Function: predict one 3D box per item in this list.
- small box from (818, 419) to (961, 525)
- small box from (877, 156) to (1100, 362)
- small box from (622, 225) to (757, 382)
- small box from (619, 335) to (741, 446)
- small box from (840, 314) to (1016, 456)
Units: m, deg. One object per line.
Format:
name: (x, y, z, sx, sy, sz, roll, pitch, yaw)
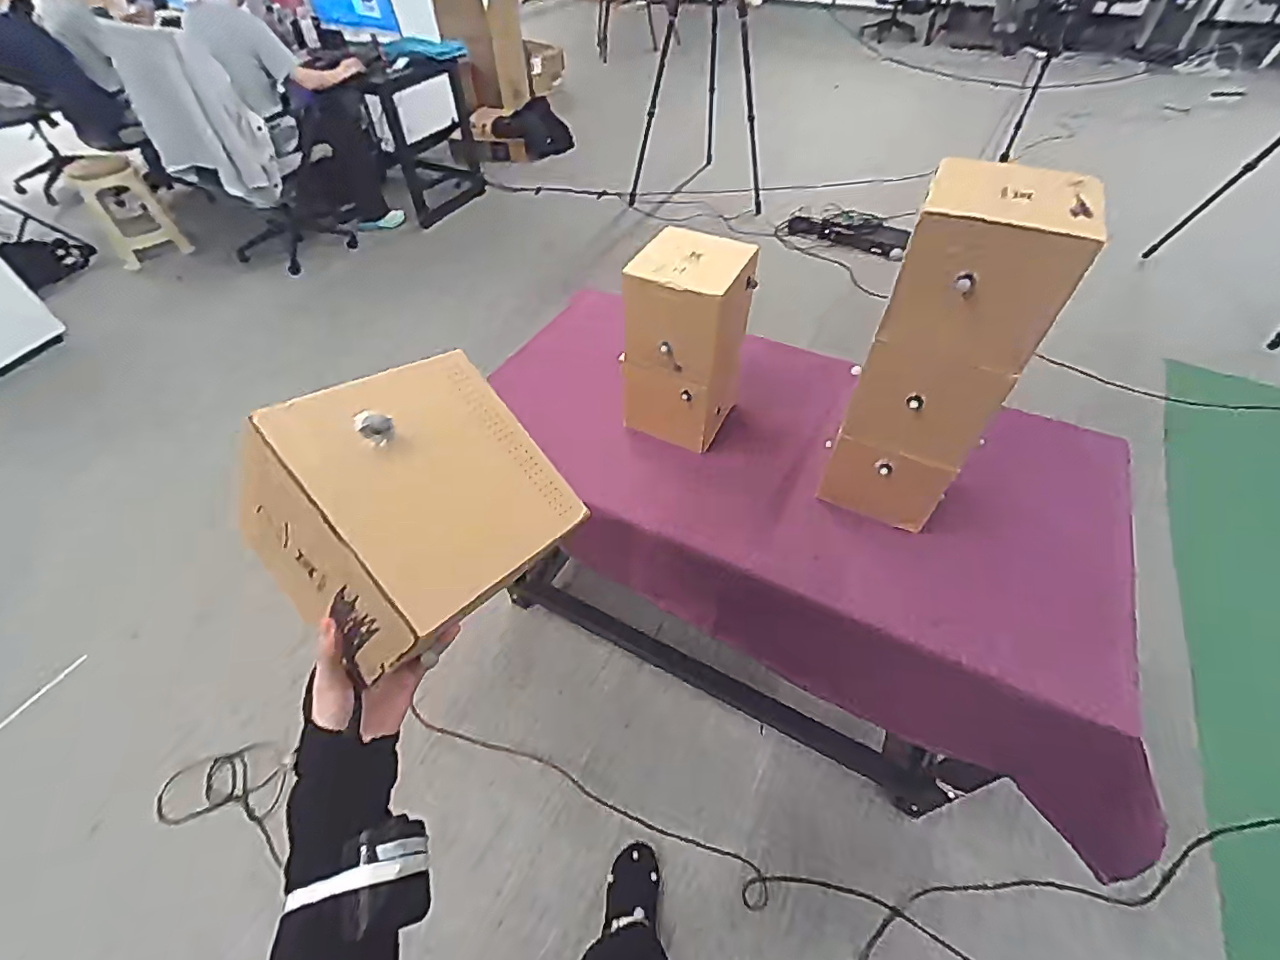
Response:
small box: (0.418, -0.052, 0.907, 0.179, 0.176, 0.168, 22, 55, 18)
small box: (0.410, -0.267, 0.659, 0.179, 0.176, 0.168, 19, 54, 19)
small box: (0.080, -0.297, 0.911, 0.168, 0.176, 0.179, 20, 53, 18)
small box: (0.075, -0.190, 1.037, 0.179, 0.176, 0.168, 21, 53, 17)
small box: (0.414, -0.159, 0.783, 0.179, 0.176, 0.168, 21, 54, 19)
